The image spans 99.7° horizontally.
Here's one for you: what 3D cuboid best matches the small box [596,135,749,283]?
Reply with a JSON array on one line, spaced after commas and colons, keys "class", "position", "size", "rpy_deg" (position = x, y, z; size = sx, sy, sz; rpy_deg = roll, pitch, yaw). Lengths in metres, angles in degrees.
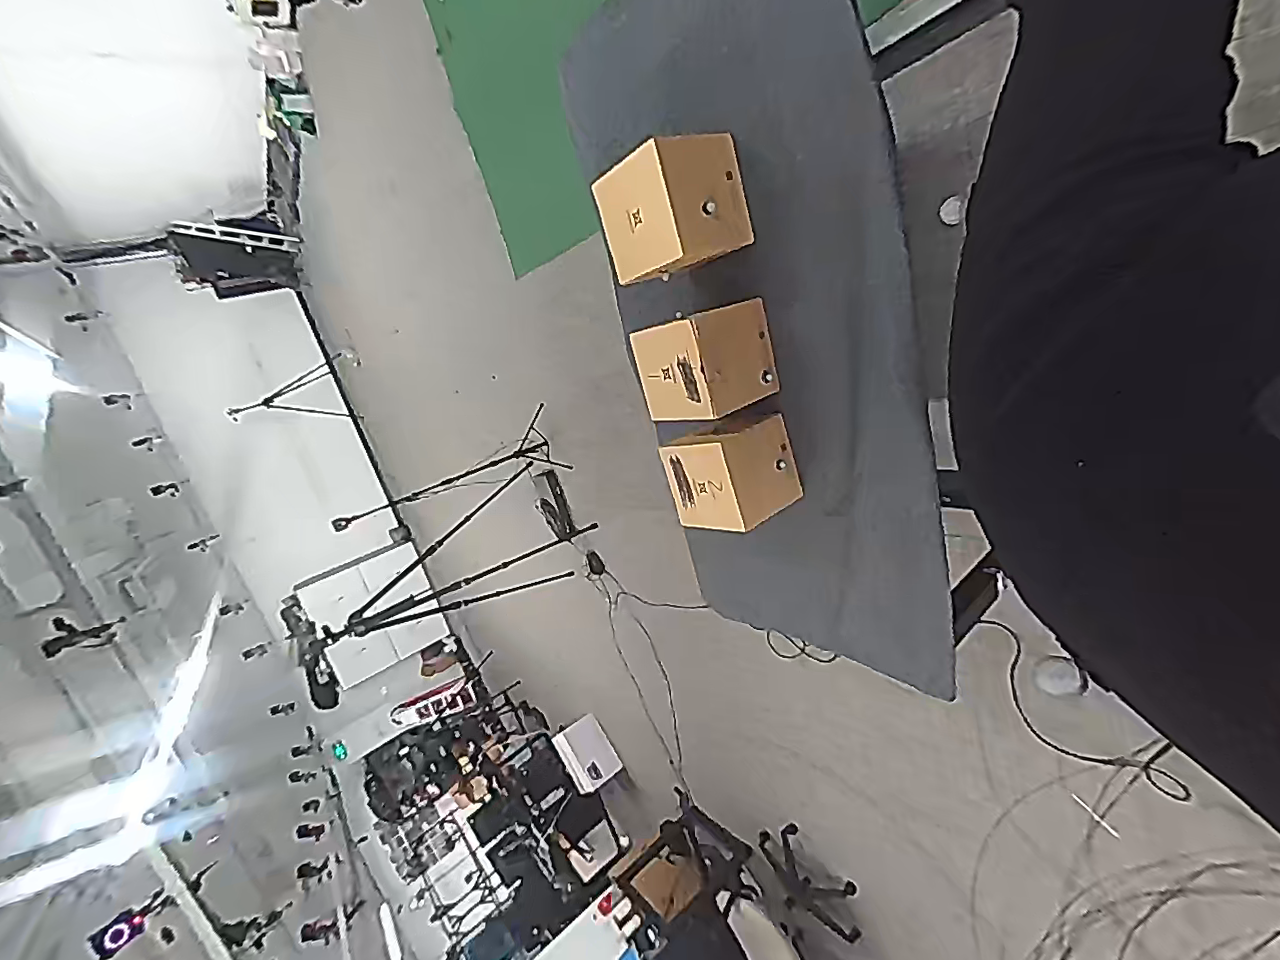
[{"class": "small box", "position": [0.060, -0.444, 0.892], "size": [0.179, 0.176, 0.168], "rpy_deg": [5, 116, 55]}]
